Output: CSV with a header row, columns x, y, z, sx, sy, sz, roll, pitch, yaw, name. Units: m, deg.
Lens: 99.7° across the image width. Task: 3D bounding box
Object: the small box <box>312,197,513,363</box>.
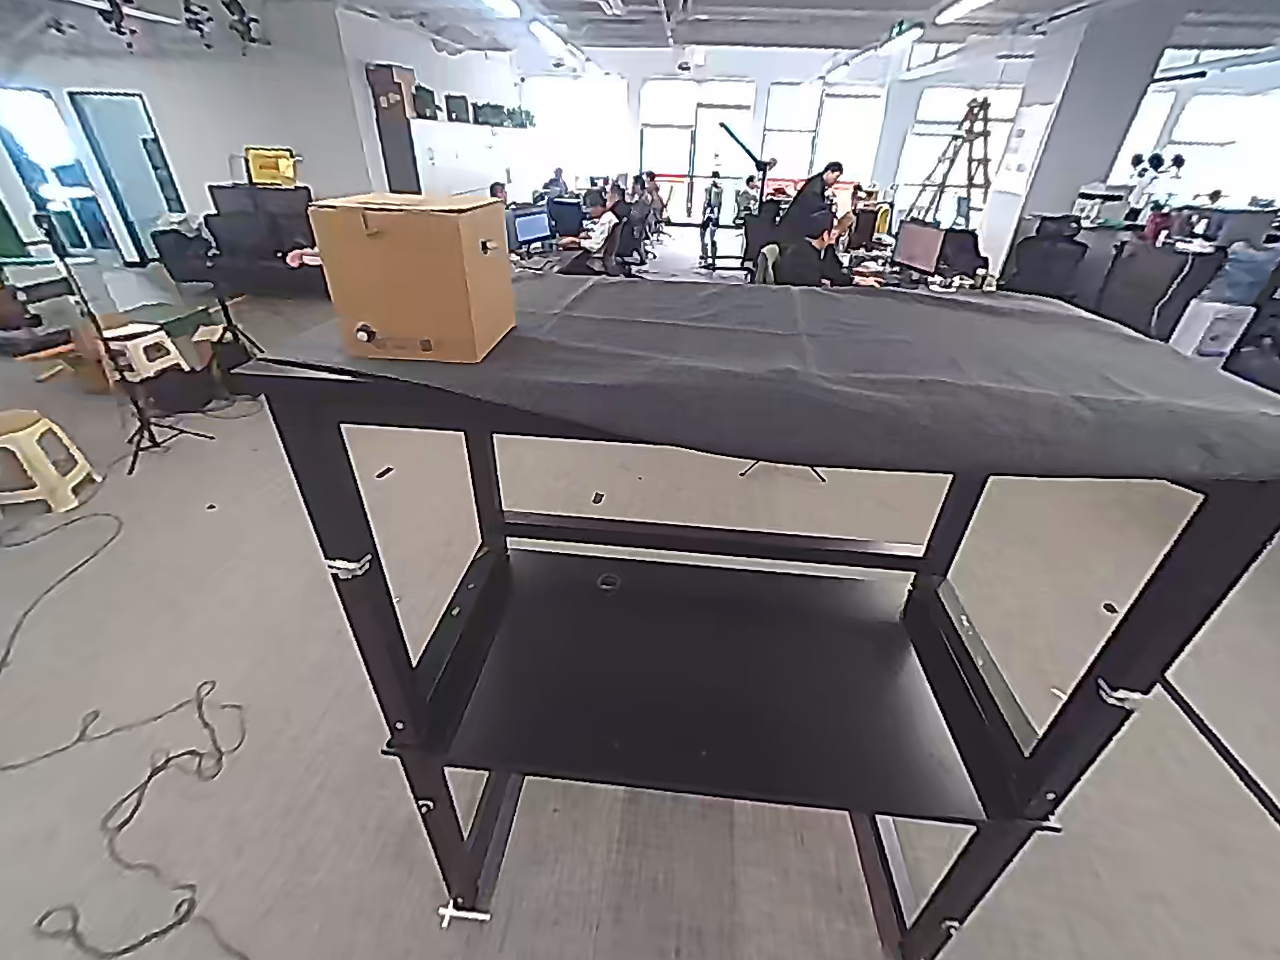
x,y,z,sx,sy,sz,roll,pitch,yaw,name
-0.264,-0.254,0.681,0.168,0.176,0.179,4,31,2,small box
